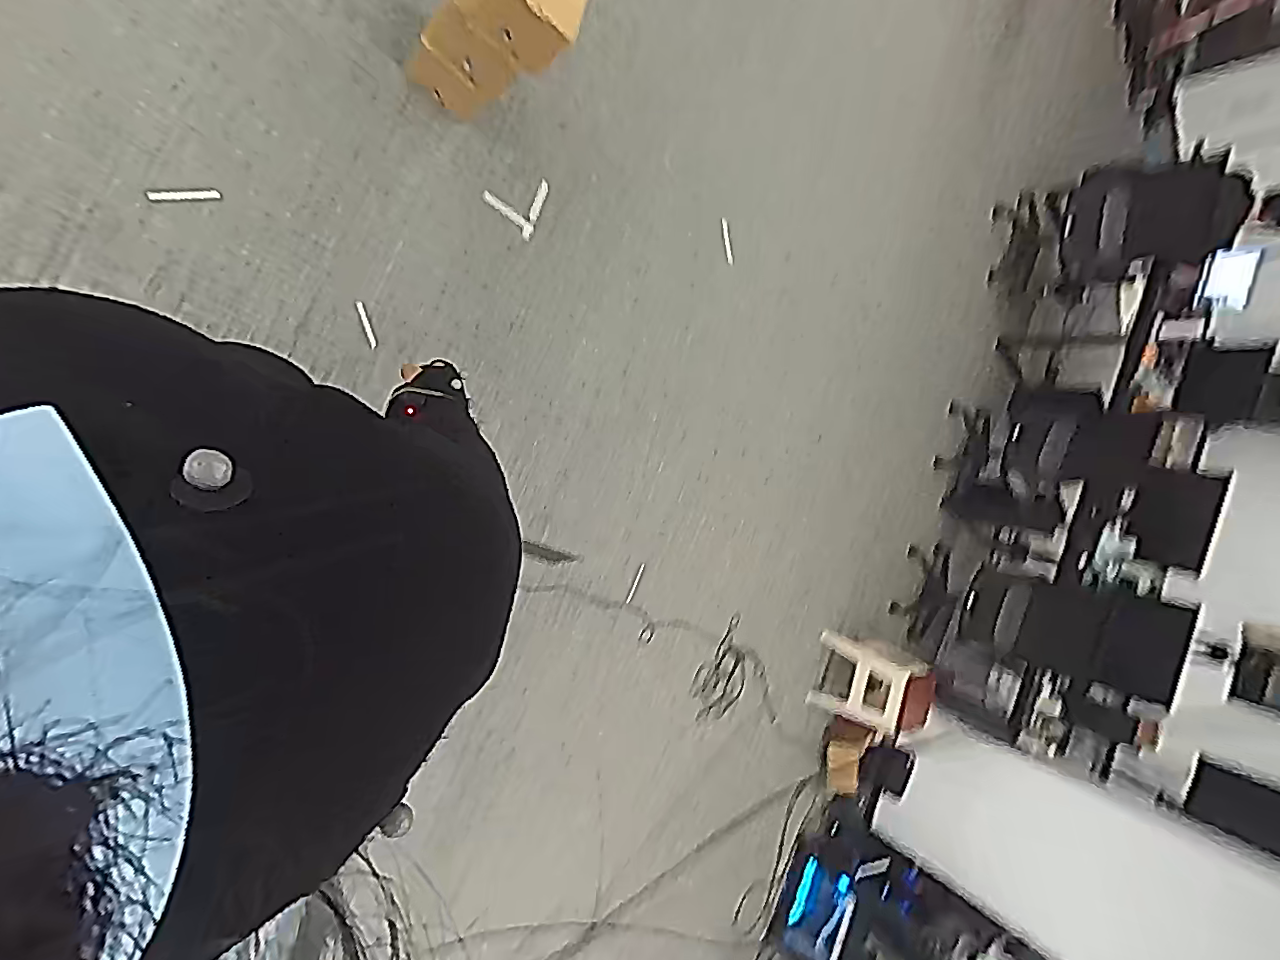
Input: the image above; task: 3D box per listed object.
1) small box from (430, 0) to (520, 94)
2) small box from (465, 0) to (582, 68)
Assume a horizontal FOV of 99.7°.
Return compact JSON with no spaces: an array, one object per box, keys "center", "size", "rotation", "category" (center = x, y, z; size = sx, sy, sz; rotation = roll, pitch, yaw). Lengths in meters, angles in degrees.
[{"center":[-0.328,-0.996,1.169],"size":[0.168,0.176,0.179],"rotation":[31,80,-37],"category":"small box"},{"center":[-0.218,-0.966,1.051],"size":[0.168,0.176,0.179],"rotation":[17,89,-39],"category":"small box"}]
